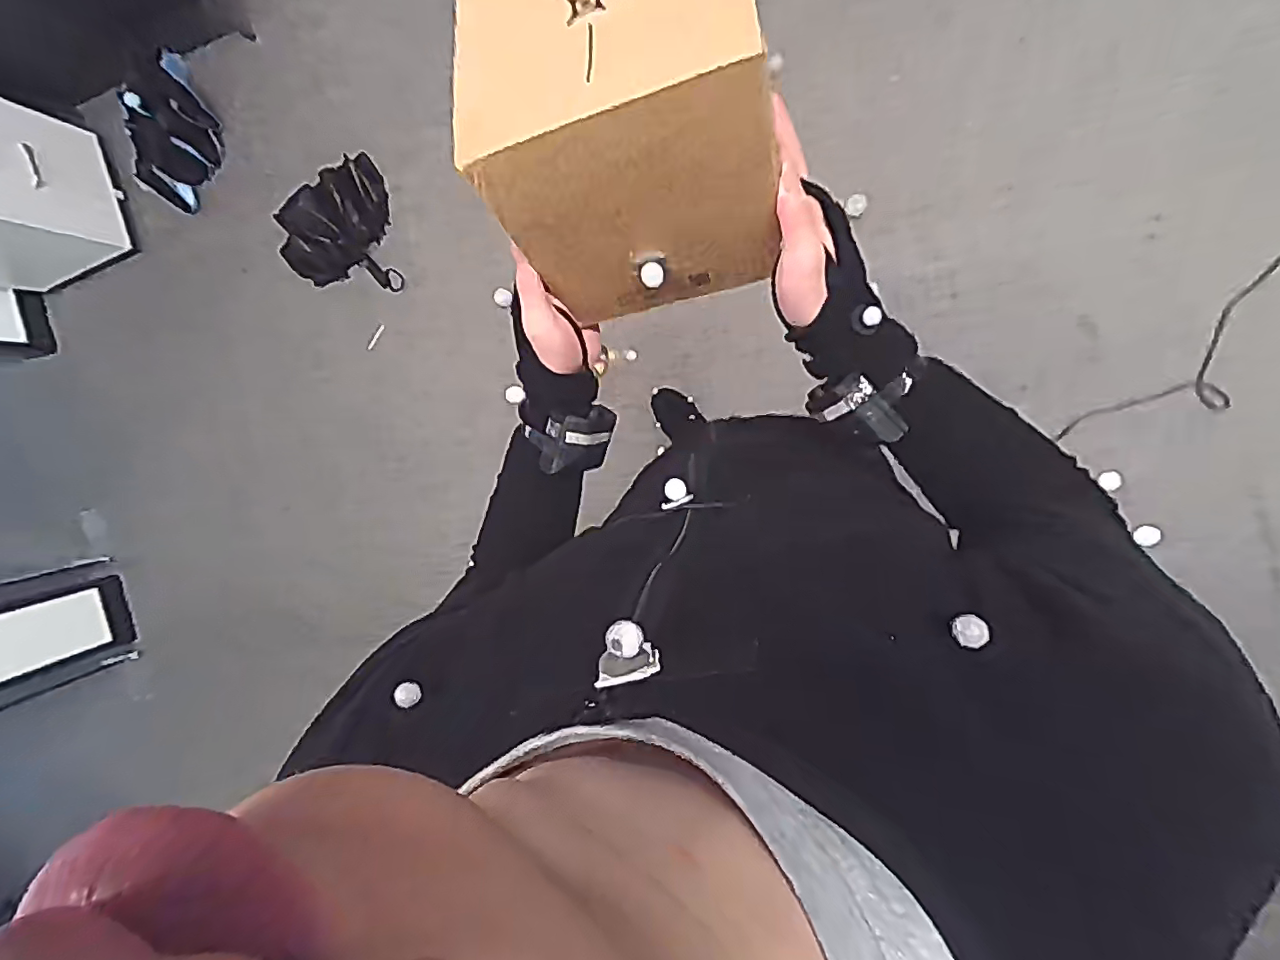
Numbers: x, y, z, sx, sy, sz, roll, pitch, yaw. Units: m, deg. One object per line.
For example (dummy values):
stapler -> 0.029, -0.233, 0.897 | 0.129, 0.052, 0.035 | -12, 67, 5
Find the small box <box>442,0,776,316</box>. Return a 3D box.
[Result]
small box -> -0.006, -0.240, 0.359 | 0.168, 0.176, 0.179 | -8, 74, 16
